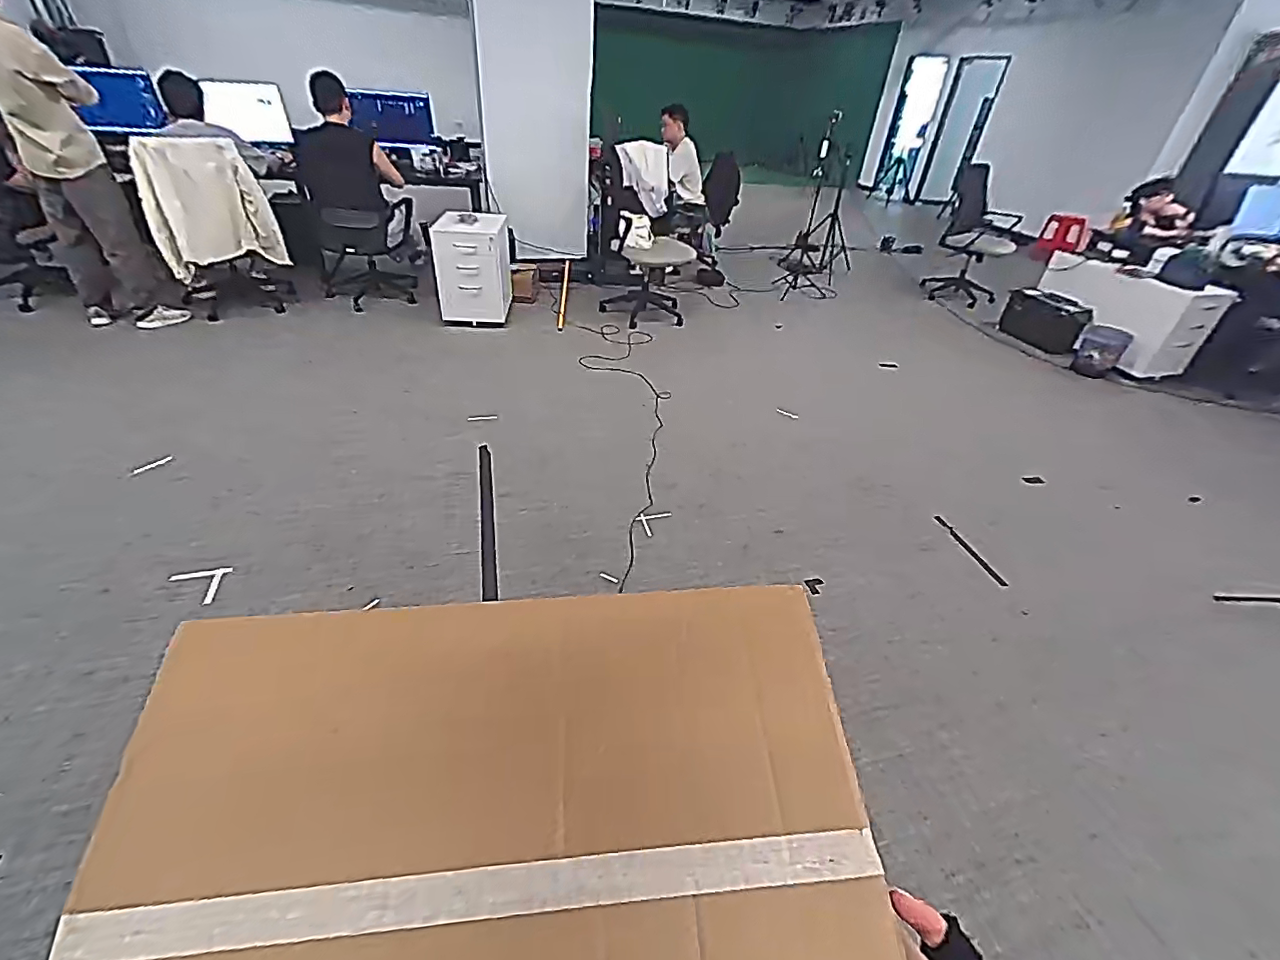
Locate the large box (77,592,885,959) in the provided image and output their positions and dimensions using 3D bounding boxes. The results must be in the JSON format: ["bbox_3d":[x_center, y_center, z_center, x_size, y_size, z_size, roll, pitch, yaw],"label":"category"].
[{"bbox_3d":[-0.084,0.301,0.405,0.408,0.320,0.320,-3,57,-5],"label":"large box"}]
